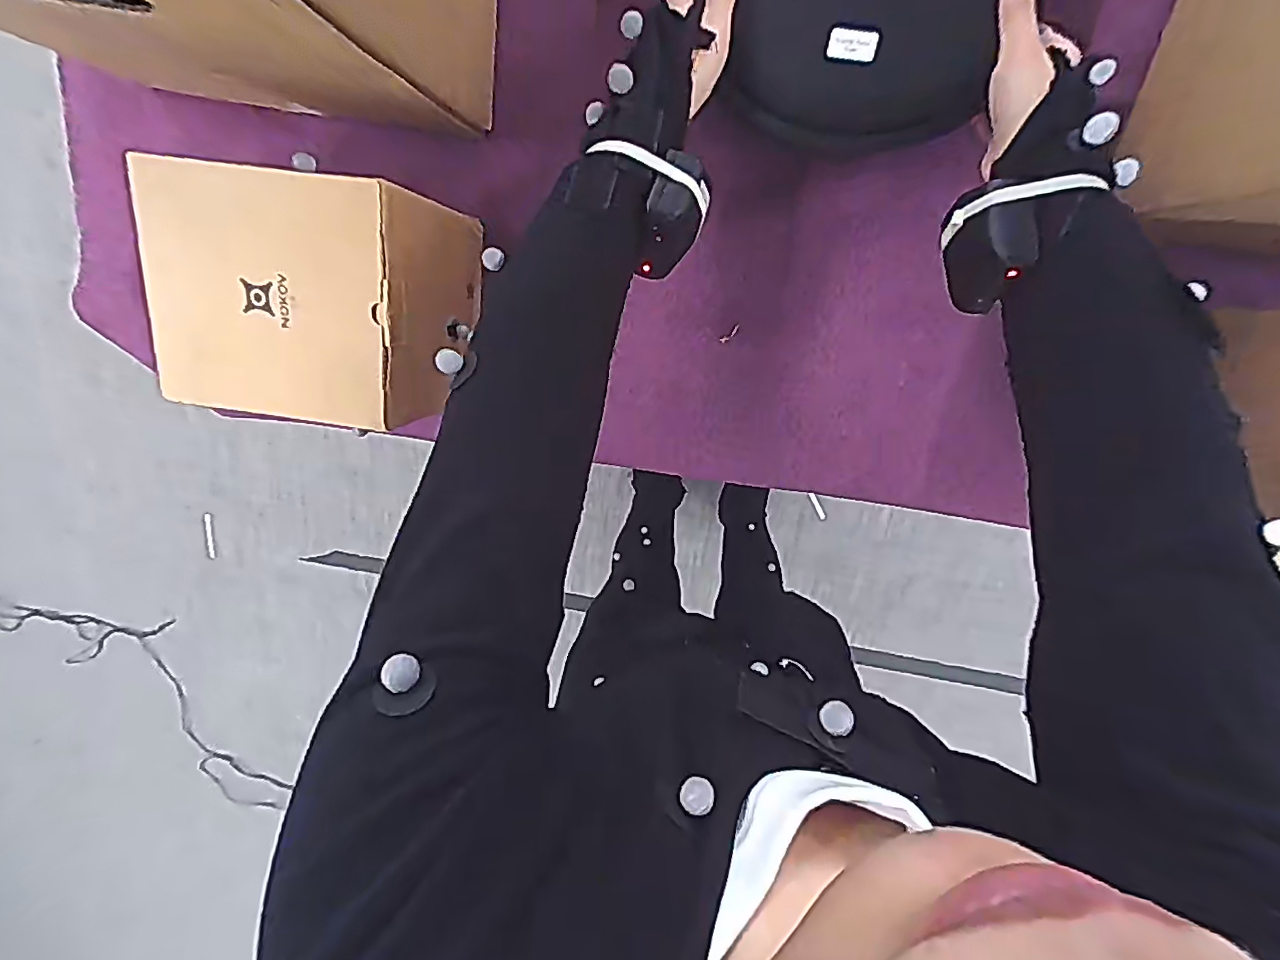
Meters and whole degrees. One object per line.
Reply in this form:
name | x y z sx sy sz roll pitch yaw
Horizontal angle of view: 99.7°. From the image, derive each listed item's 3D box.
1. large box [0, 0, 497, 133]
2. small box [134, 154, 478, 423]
large box | -0.266 -0.462 0.280 0.320 0.320 0.408 9 111 2
small box | -0.255 -0.152 0.456 0.179 0.176 0.168 8 108 3
